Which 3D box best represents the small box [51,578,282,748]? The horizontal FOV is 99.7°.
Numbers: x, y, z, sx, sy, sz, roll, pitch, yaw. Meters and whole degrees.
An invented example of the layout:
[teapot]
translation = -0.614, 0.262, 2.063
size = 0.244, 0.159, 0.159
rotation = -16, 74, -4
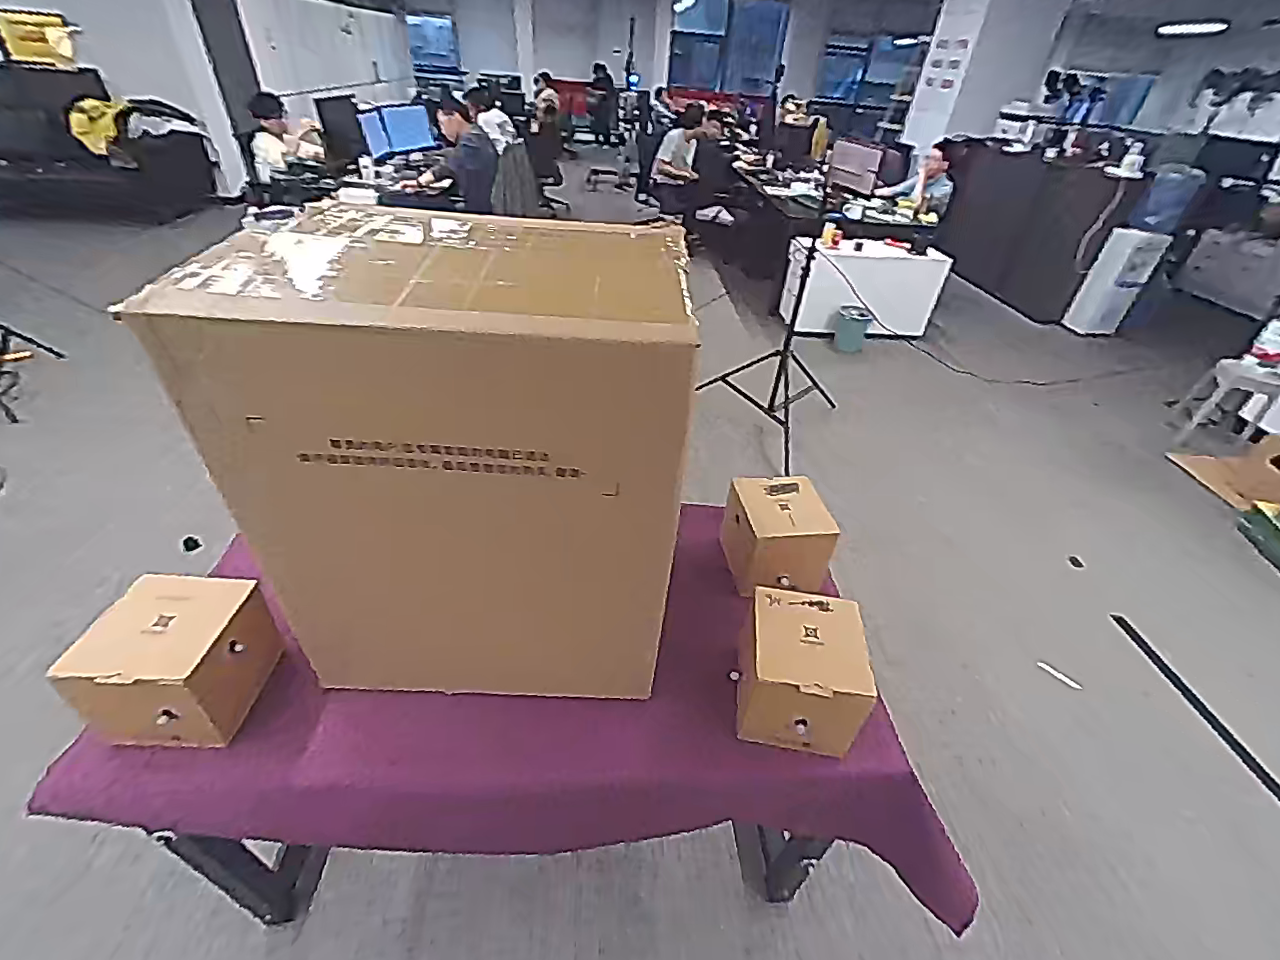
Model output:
[small box]
translation = -0.663, 0.267, 0.791
size = 0.168, 0.176, 0.179
rotation = 5, 35, -5
